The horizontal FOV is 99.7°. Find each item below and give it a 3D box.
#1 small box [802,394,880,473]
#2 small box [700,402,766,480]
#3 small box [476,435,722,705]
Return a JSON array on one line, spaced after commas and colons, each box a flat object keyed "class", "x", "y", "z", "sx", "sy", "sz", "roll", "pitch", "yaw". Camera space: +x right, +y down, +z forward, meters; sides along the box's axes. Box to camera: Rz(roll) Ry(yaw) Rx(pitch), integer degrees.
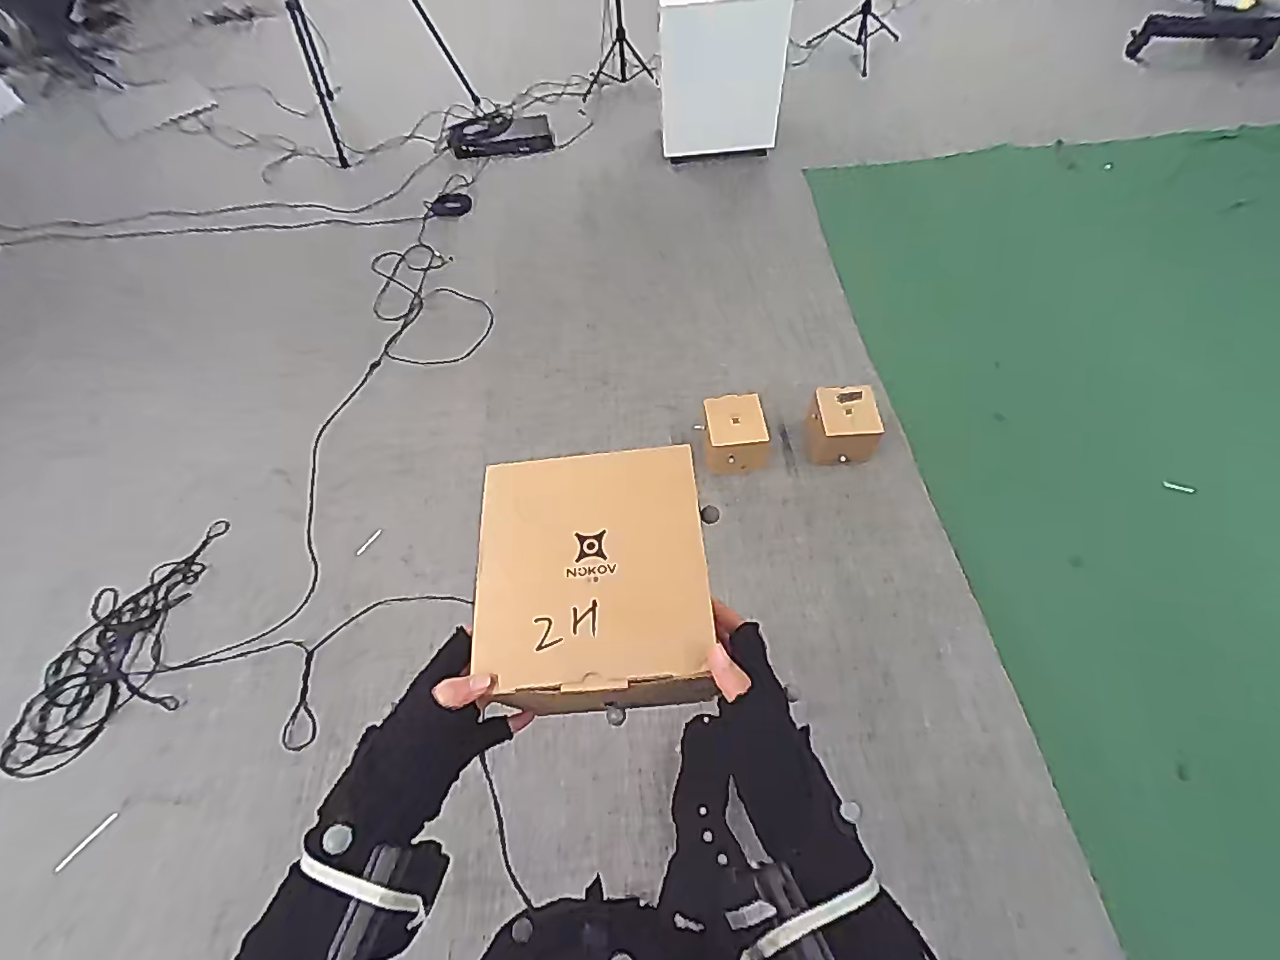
[{"class": "small box", "x": 0.601, "y": -0.140, "z": 1.640, "sx": 0.168, "sy": 0.176, "sz": 0.179, "roll": -3, "pitch": 59, "yaw": 2}, {"class": "small box", "x": 0.276, "y": -0.112, "z": 1.645, "sx": 0.168, "sy": 0.176, "sz": 0.179, "roll": -6, "pitch": 57, "yaw": 0}, {"class": "small box", "x": -0.025, "y": 0.084, "z": 0.464, "sx": 0.168, "sy": 0.176, "sz": 0.179, "roll": -6, "pitch": 61, "yaw": 3}]
